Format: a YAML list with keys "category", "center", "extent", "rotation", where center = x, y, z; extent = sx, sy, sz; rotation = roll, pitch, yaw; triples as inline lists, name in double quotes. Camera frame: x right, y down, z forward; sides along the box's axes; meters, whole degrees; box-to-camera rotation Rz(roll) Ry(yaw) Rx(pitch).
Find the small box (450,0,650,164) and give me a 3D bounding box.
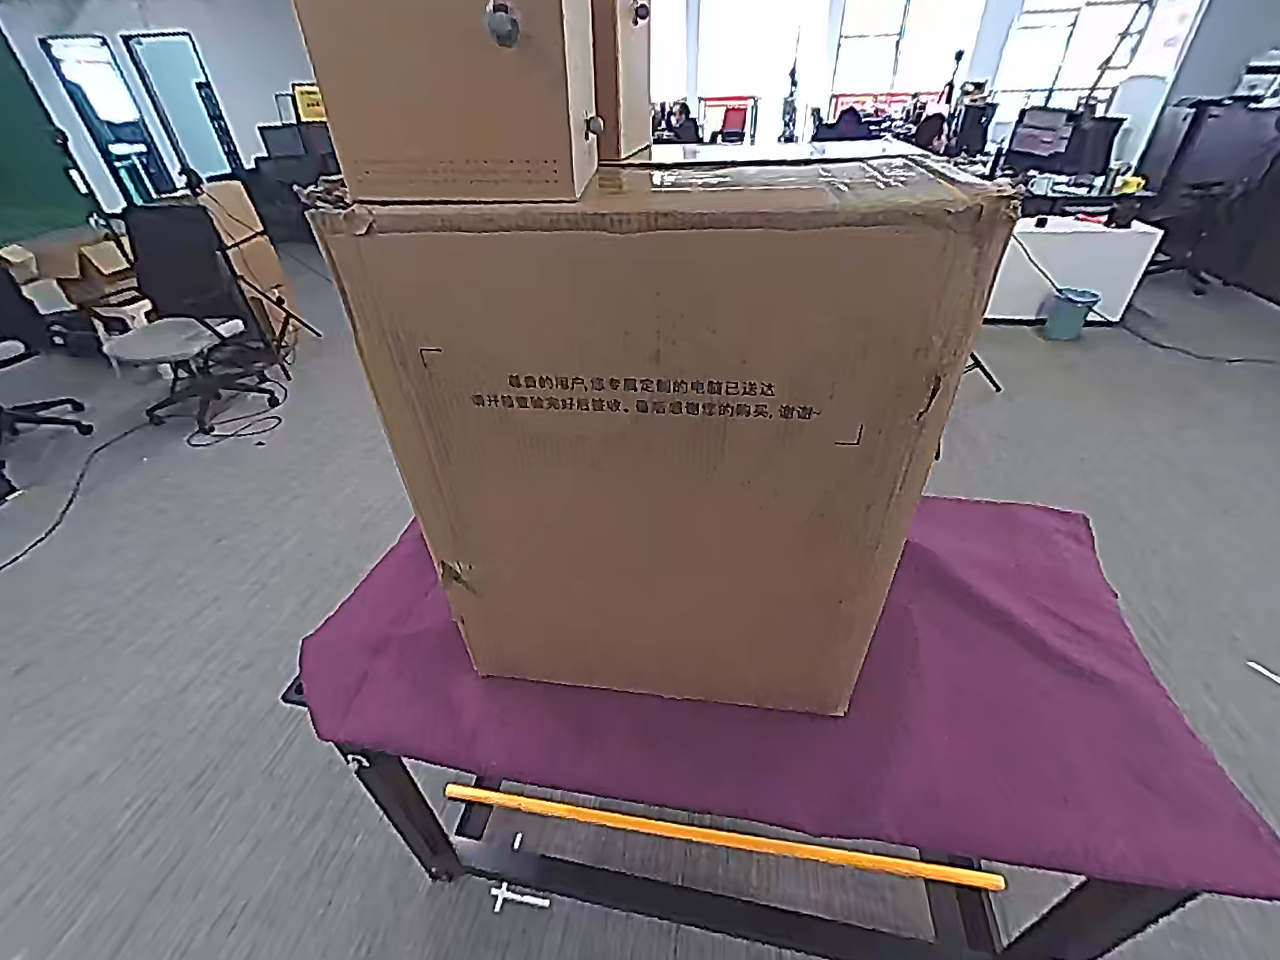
- category: "small box"
  center: [-0.082, -0.455, 0.598]
  extent: [0.168, 0.176, 0.179]
  rotation: [7, 37, 10]
